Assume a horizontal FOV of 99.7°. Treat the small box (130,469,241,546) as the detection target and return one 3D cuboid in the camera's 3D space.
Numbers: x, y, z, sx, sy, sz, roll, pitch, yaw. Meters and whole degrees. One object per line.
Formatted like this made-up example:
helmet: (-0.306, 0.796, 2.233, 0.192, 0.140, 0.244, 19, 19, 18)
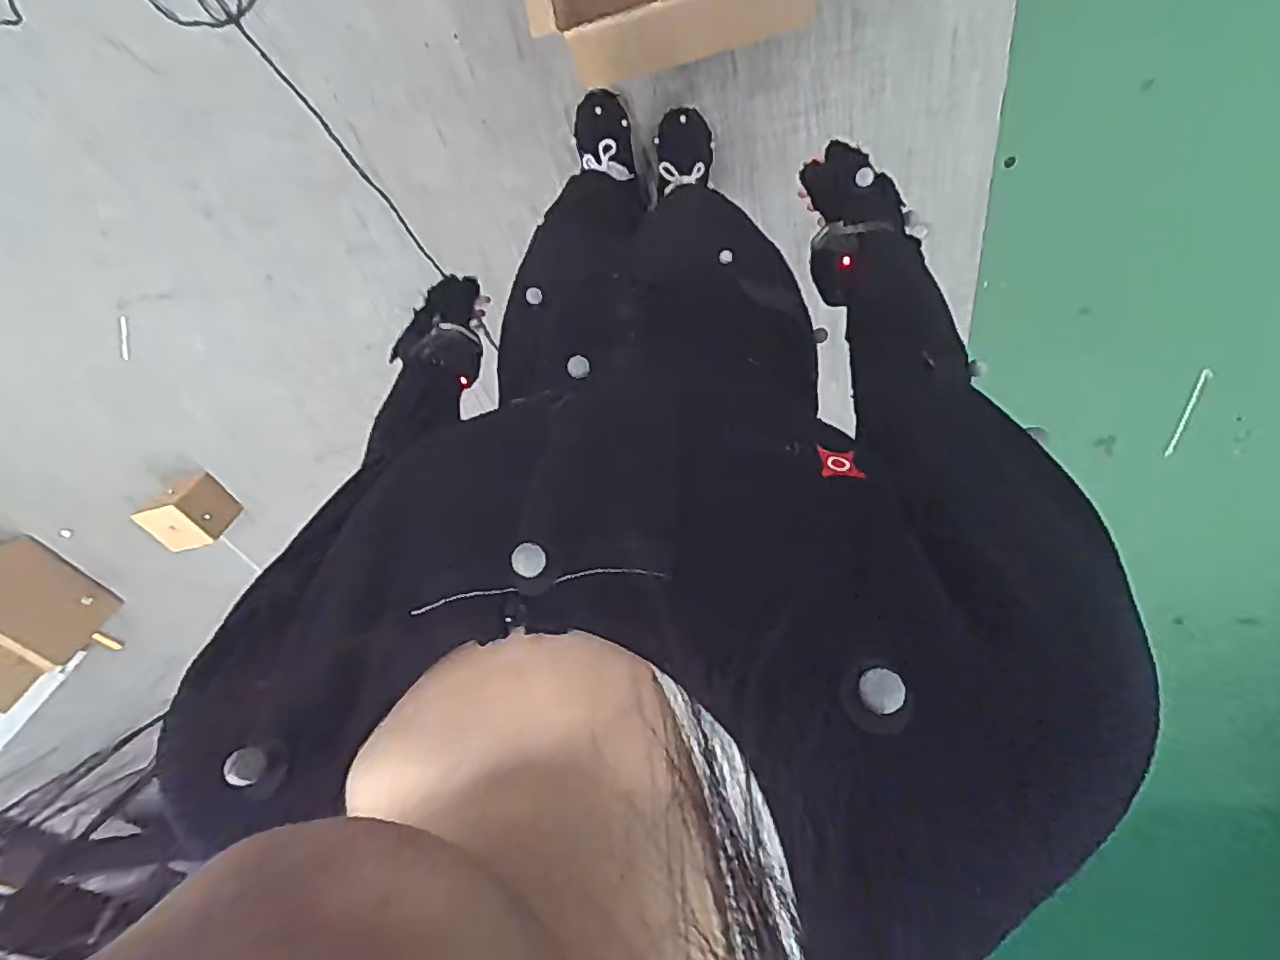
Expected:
small box: (-1.458, 0.081, 1.748, 0.168, 0.176, 0.179, -13, 130, 10)
